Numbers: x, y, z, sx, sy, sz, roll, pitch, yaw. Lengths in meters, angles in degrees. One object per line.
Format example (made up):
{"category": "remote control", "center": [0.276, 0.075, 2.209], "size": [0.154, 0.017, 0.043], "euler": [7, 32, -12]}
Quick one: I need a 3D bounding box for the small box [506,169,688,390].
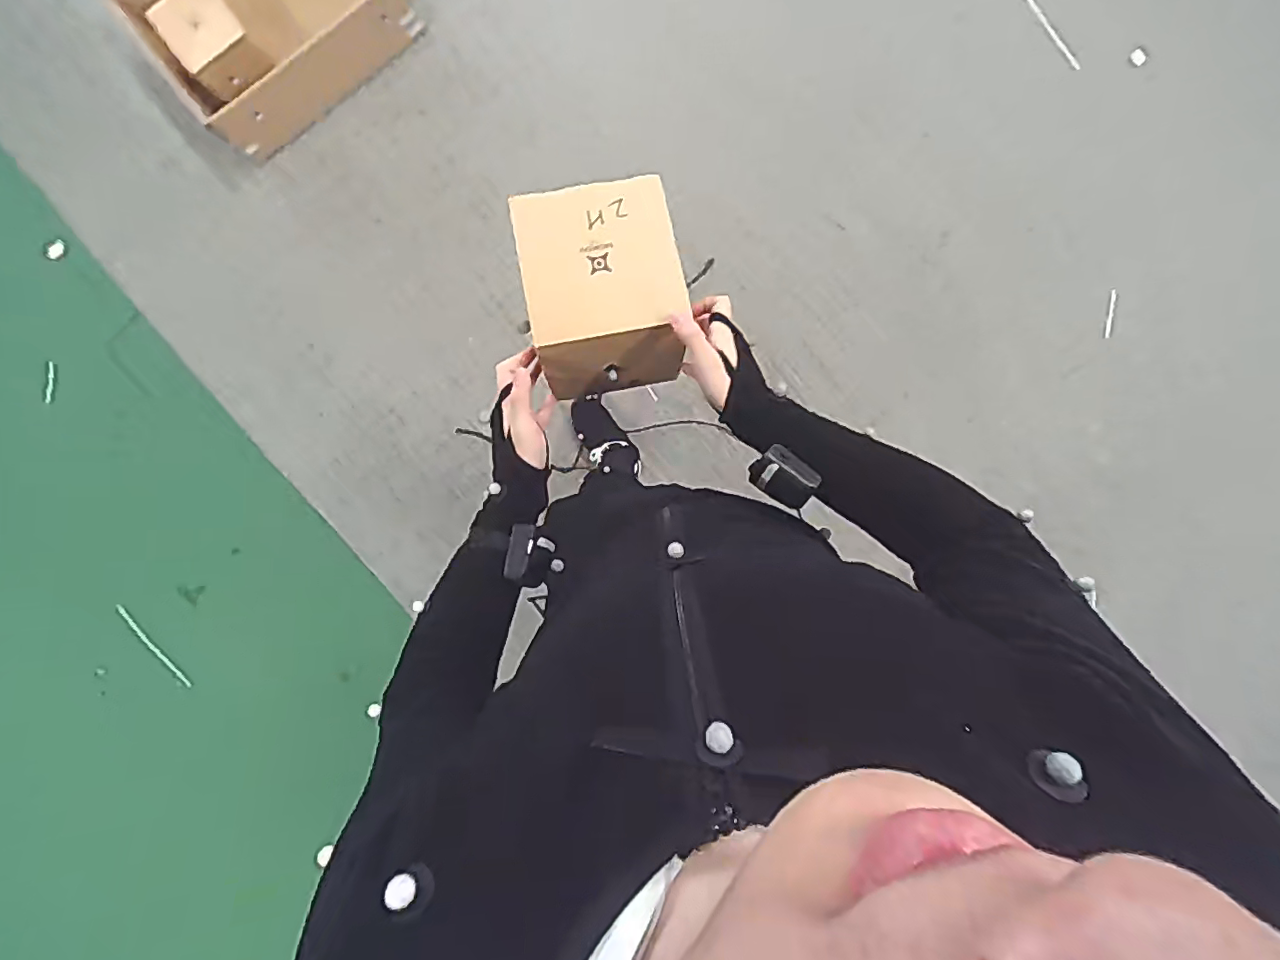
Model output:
{"category": "small box", "center": [-0.046, -0.216, 0.630], "size": [0.168, 0.176, 0.179], "euler": [-11, 79, -4]}

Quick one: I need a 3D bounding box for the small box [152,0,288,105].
{"category": "small box", "center": [-1.045, -1.097, 1.364], "size": [0.168, 0.176, 0.179], "euler": [-36, 93, 2]}
